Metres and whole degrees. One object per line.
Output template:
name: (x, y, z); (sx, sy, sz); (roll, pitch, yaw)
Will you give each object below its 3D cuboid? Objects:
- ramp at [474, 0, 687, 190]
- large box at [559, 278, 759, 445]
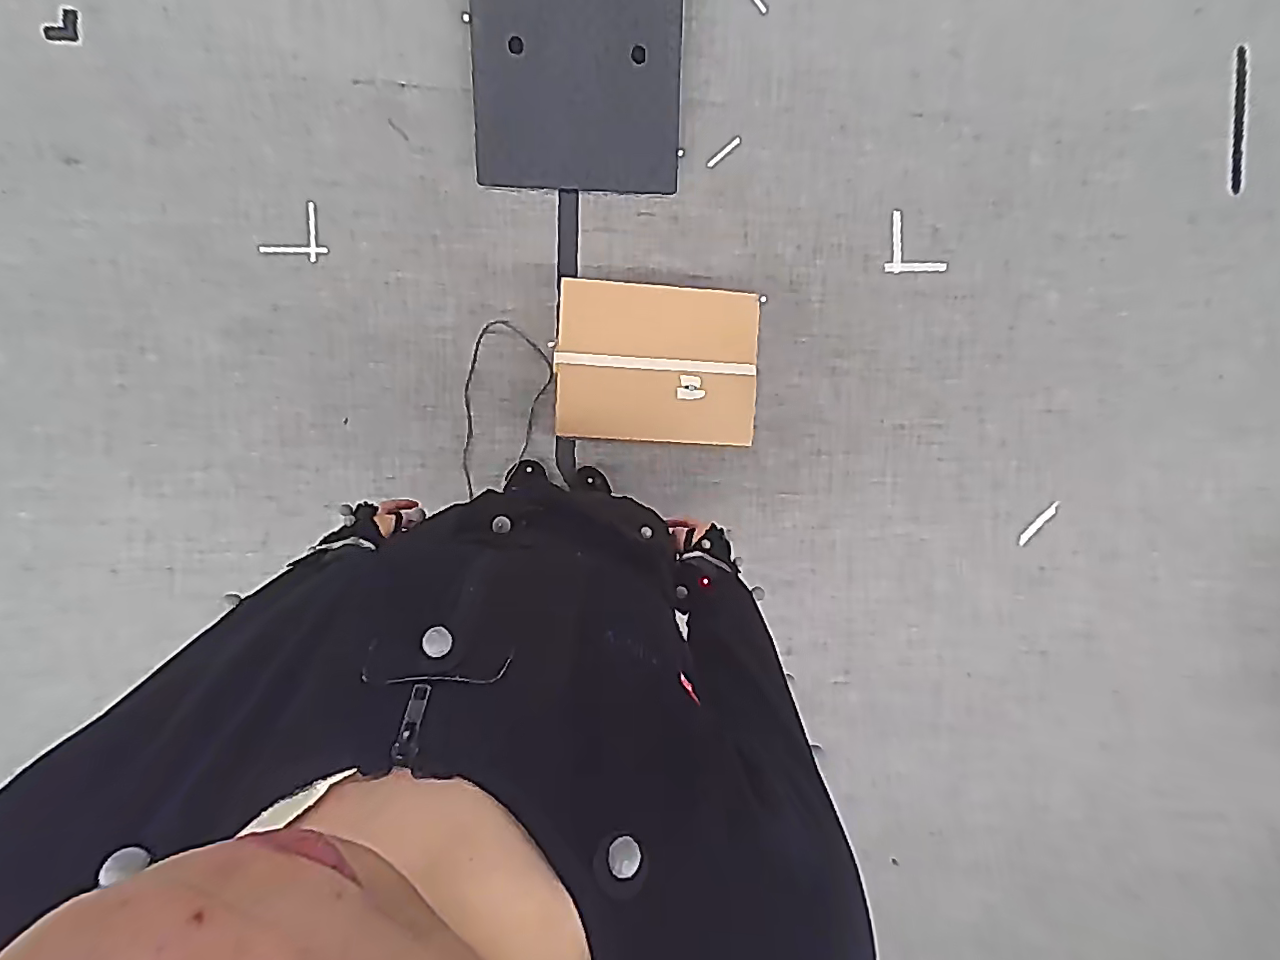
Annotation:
ramp: (-0.129, -1.212, 1.217); (0.509, 0.206, 0.991); (-1, 94, -6)
large box: (0.022, -0.243, 1.234); (0.408, 0.320, 0.320); (3, 93, -7)
